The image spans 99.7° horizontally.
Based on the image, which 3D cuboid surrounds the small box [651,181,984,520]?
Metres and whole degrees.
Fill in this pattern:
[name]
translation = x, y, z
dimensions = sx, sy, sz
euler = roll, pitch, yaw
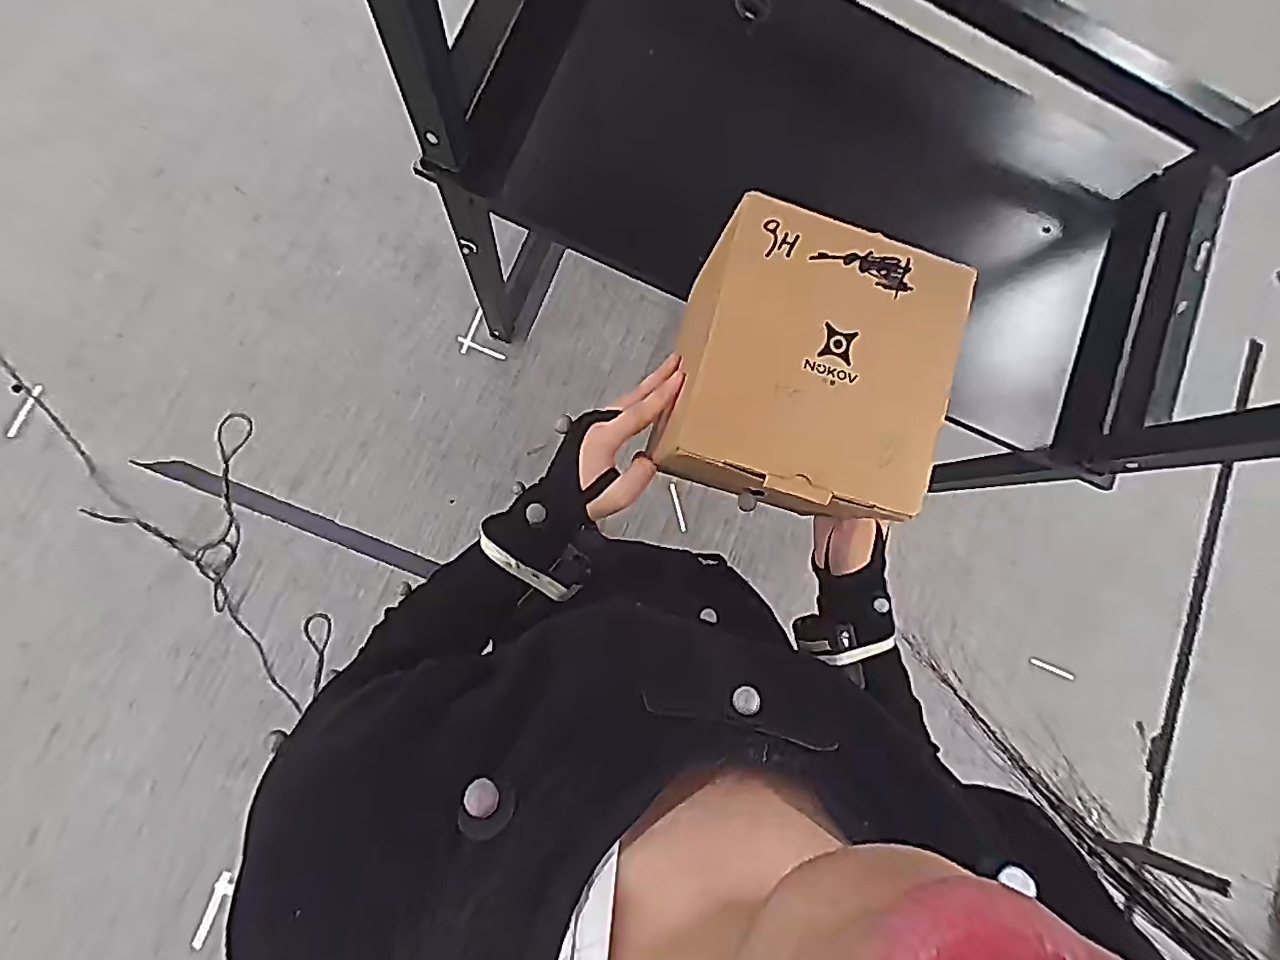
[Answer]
[small box]
translation = 0.113, -0.079, 0.416
dimensions = 0.168, 0.176, 0.179
euler = 16, 87, -7
